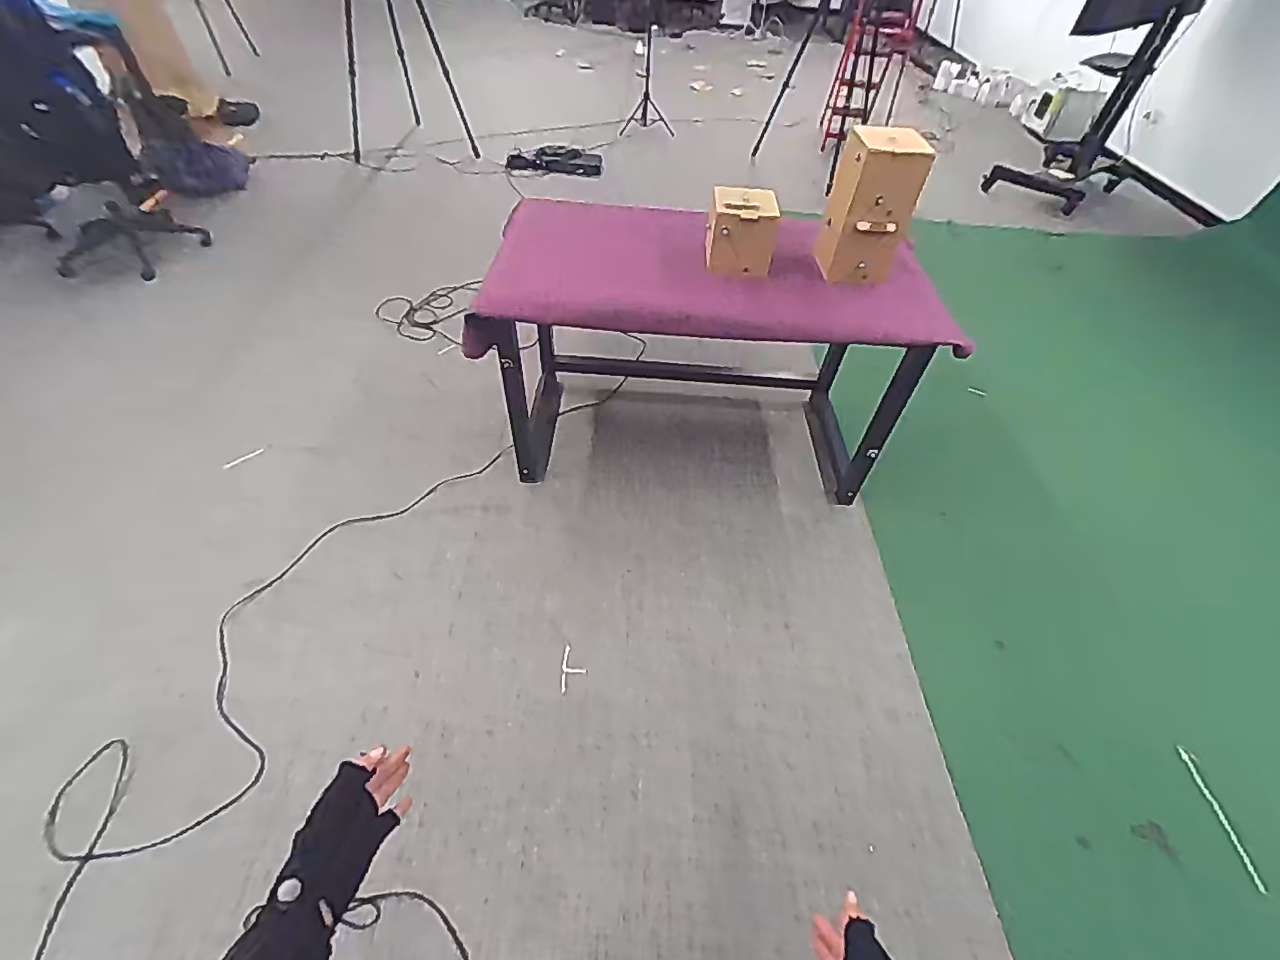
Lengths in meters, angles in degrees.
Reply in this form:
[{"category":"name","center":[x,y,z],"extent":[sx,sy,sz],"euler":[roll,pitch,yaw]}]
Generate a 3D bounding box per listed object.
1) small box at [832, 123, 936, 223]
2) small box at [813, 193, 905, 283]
[{"category":"small box","center":[0.606,-0.778,1.375],"extent":[0.168,0.176,0.179],"euler":[2,50,-3]},{"category":"small box","center":[0.594,-0.669,1.495],"extent":[0.168,0.176,0.179],"euler":[1,49,-2]}]
